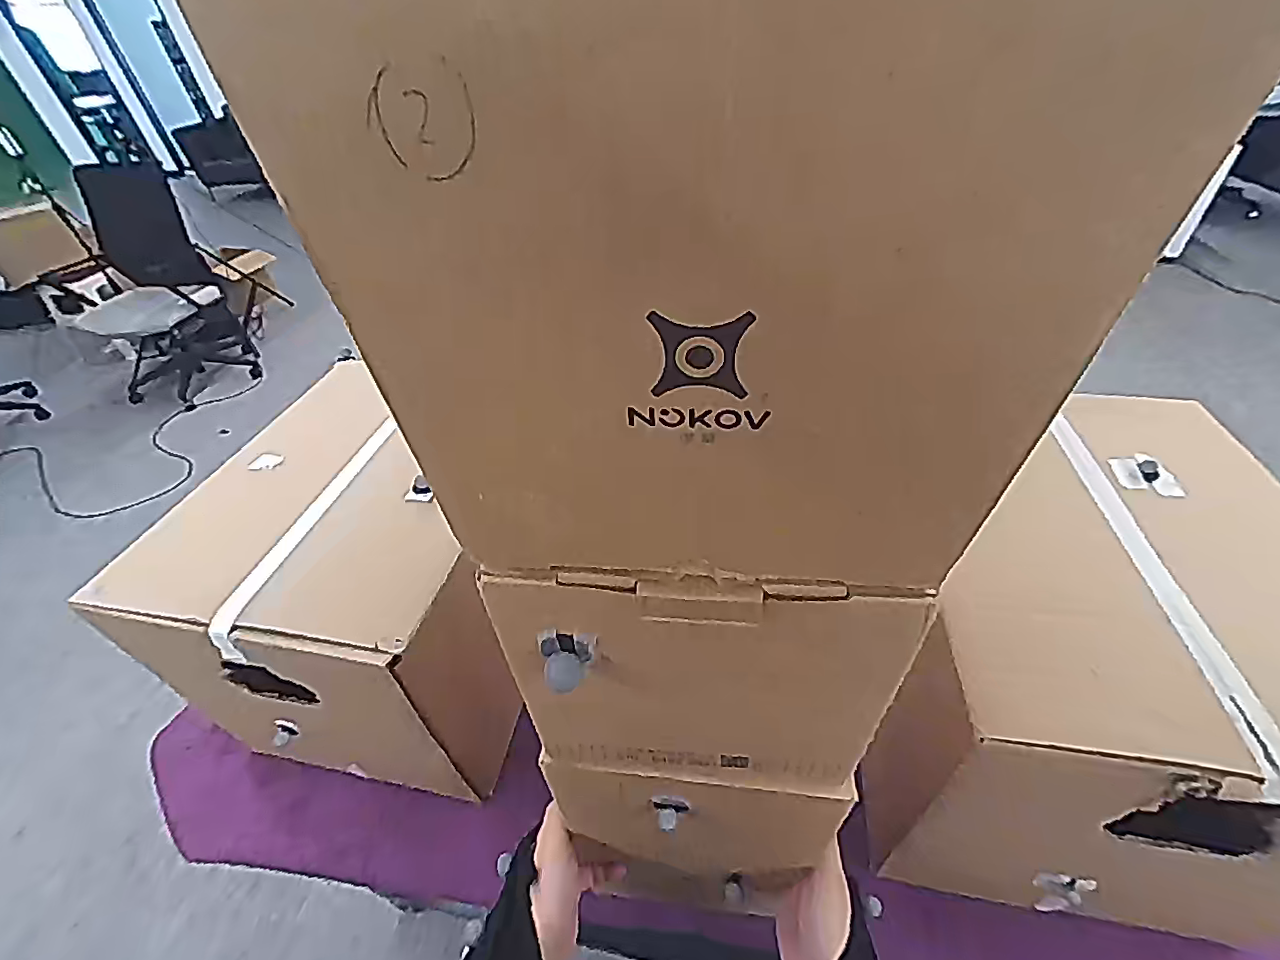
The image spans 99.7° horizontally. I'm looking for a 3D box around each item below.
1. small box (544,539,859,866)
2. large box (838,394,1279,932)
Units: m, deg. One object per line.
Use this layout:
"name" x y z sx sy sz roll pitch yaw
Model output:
"small box" 0.044 0.164 0.405 0.179 0.176 0.168 3 42 7
"large box" 0.401 0.153 0.551 0.320 0.320 0.408 4 41 10
